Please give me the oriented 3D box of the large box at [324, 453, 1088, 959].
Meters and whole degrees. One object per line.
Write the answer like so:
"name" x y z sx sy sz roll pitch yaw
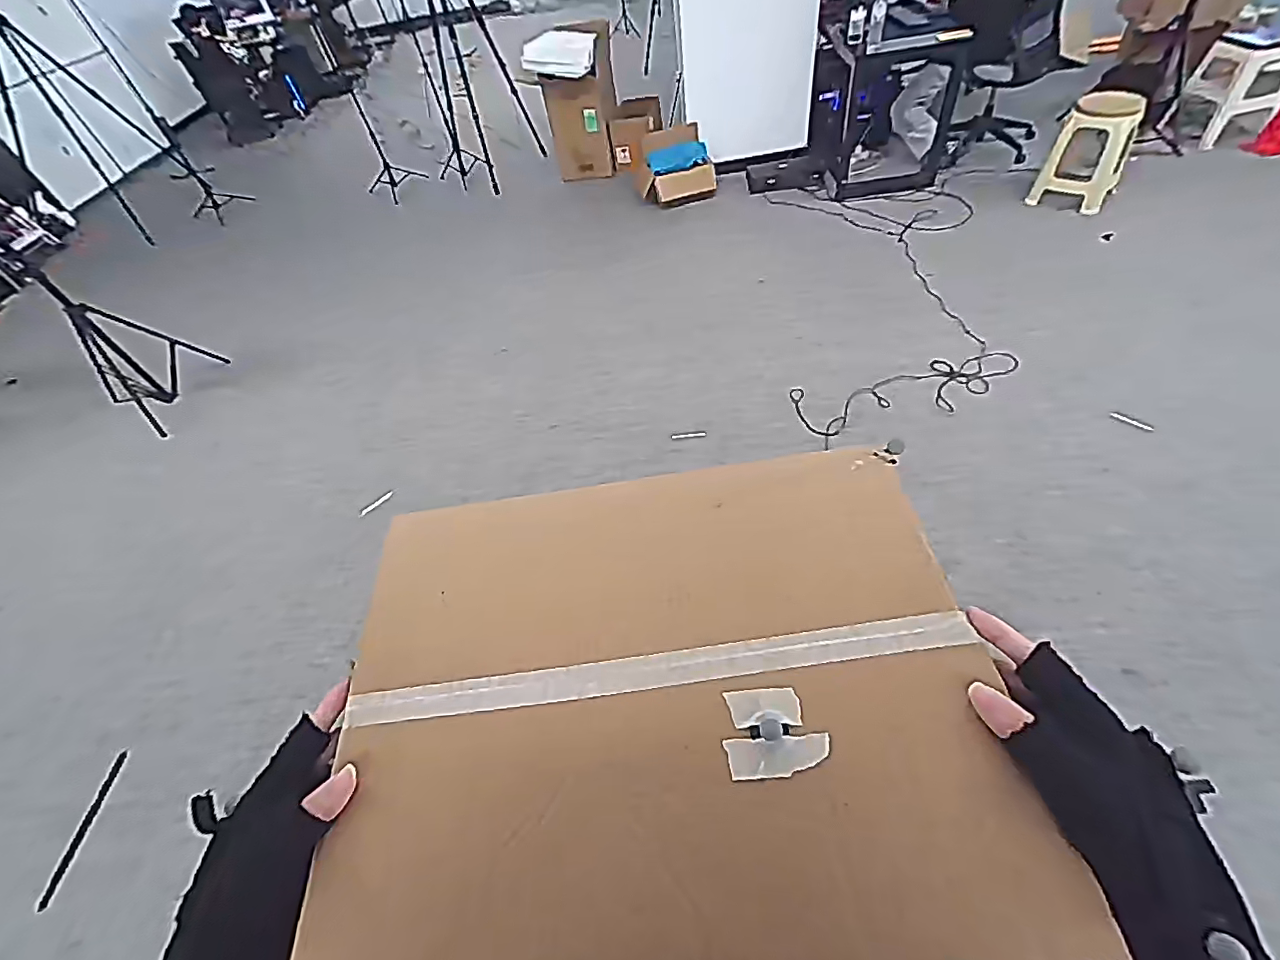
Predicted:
"large box" 0.030 0.217 0.479 0.408 0.320 0.320 -8 53 2
